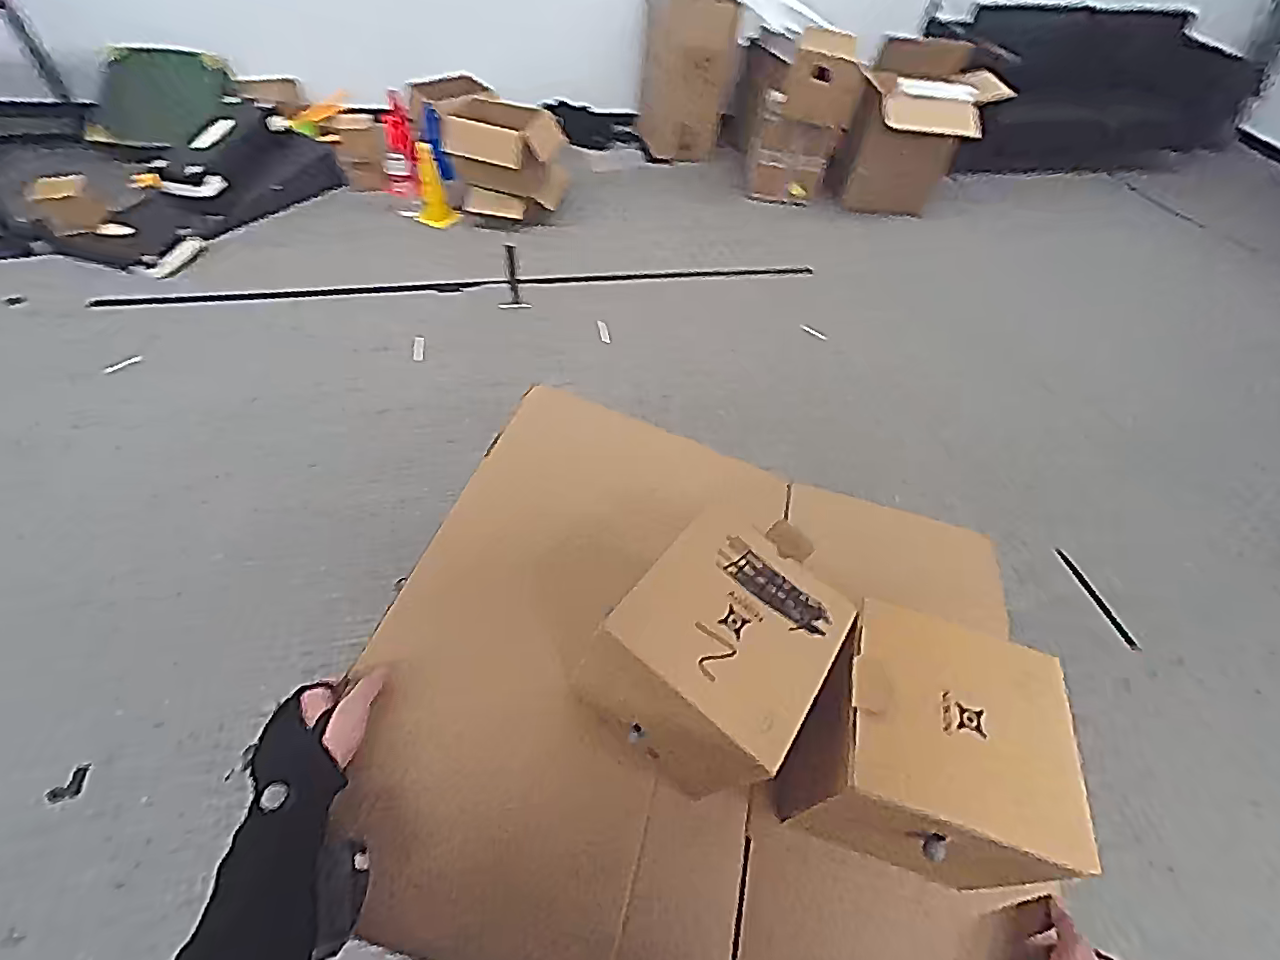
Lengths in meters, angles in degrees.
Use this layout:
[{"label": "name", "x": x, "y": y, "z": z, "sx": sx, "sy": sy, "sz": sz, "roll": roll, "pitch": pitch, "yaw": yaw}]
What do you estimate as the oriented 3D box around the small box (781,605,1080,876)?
[{"label": "small box", "x": 0.251, "y": 0.249, "z": 0.509, "sx": 0.179, "sy": 0.176, "sz": 0.168, "roll": 16, "pitch": 50, "yaw": 7}]
